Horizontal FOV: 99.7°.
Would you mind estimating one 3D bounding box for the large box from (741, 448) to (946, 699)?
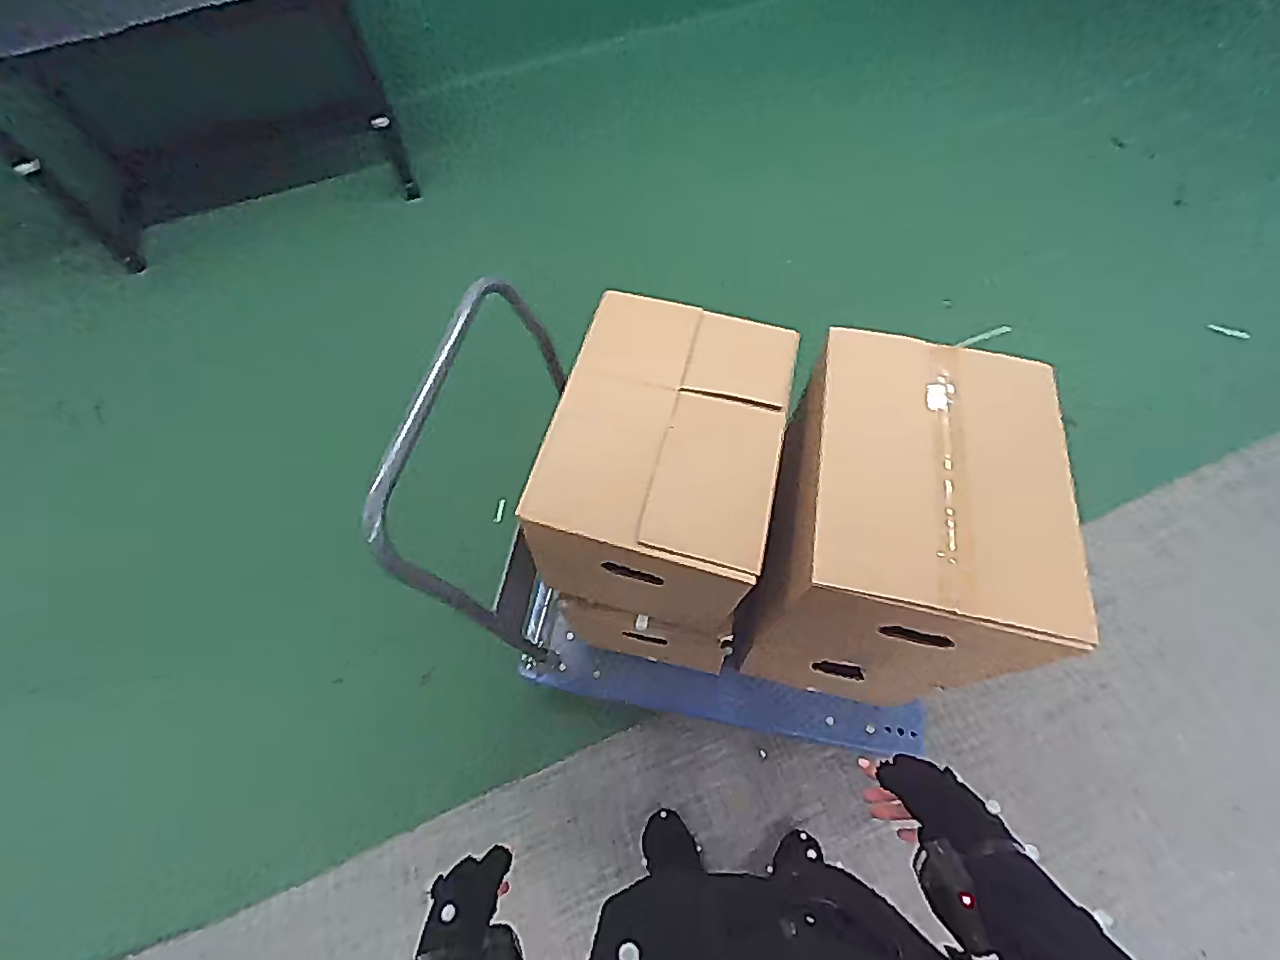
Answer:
[{"bbox_3d":[0.395,0.196,1.109,0.320,0.320,0.408,8,64,11],"label":"large box"}]
